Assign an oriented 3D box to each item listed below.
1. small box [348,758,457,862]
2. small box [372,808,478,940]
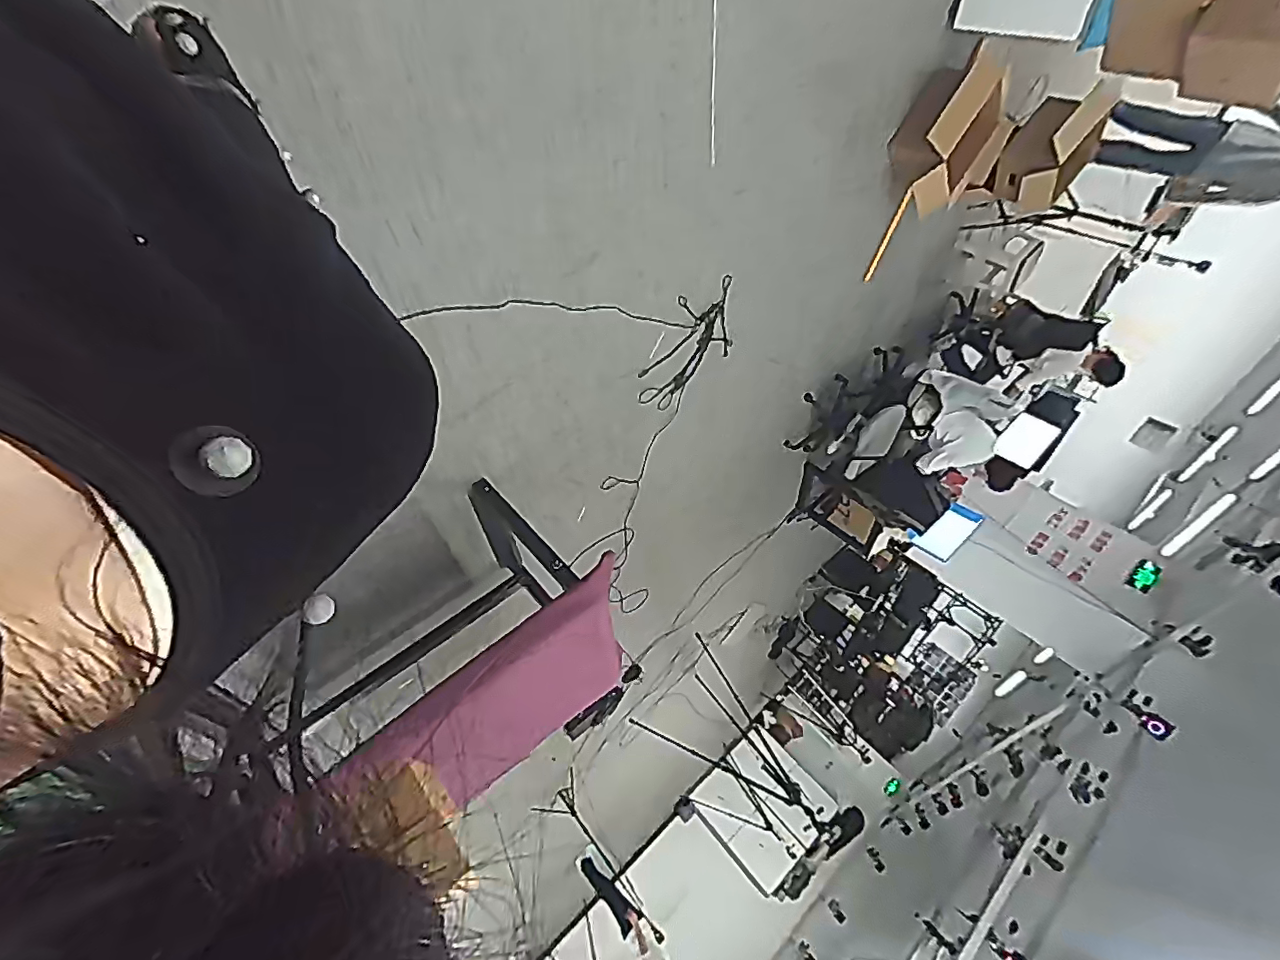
[{"bbox_3d":[-0.613,0.856,1.404,0.168,0.176,0.179,-39,147,-20],"label":"small box"},{"bbox_3d":[-0.518,0.938,1.294,0.179,0.176,0.168,-30,144,-32],"label":"small box"}]
